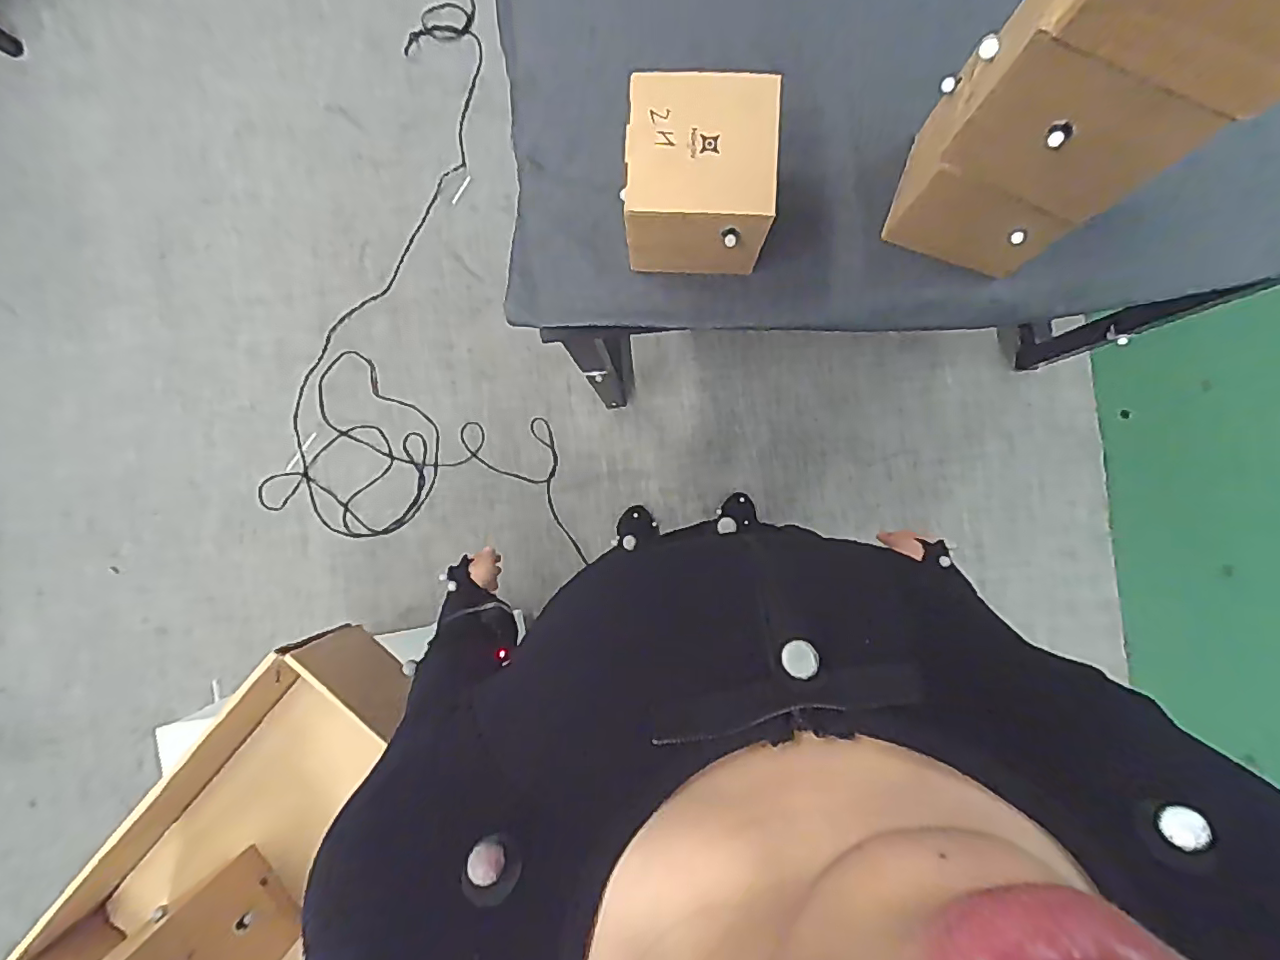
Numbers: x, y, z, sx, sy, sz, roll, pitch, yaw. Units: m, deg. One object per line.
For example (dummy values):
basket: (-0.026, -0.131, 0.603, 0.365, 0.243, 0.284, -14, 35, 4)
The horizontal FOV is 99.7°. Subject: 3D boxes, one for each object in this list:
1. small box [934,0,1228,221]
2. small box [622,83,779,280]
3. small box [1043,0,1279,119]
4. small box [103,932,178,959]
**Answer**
small box: (0.434, -0.386, 0.522, 0.179, 0.176, 0.168, 28, 88, 4)
small box: (0.073, -0.373, 0.703, 0.179, 0.176, 0.168, 3, 88, 3)
small box: (0.429, -0.392, 0.360, 0.179, 0.176, 0.168, 27, 88, 3)
small box: (-0.659, 0.694, 0.622, 0.179, 0.176, 0.168, -33, 90, -1)
